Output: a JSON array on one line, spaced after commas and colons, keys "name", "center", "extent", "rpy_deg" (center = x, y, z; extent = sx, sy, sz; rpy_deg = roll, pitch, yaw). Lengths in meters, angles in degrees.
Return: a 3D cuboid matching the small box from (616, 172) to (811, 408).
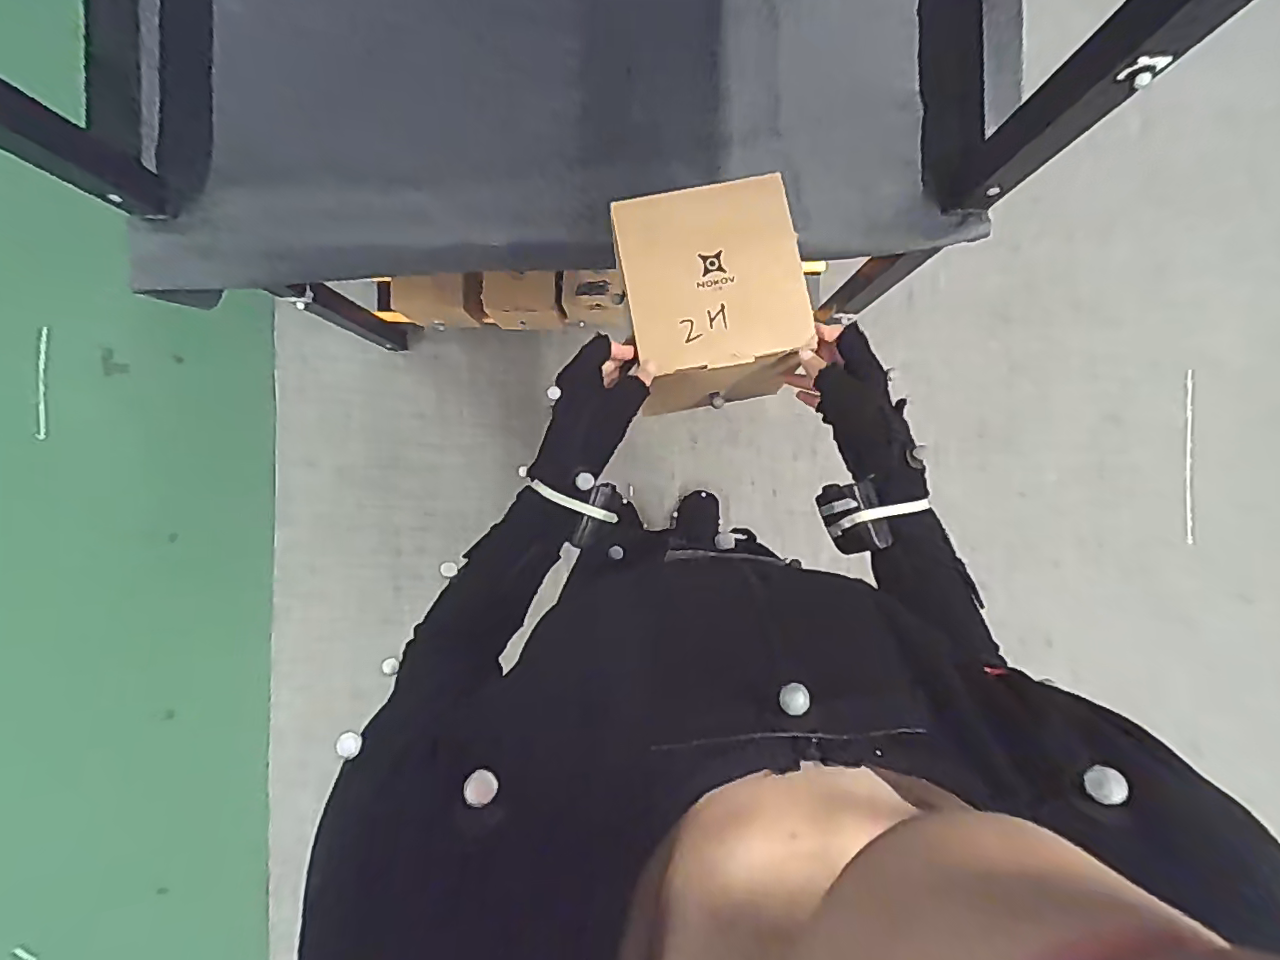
[{"name": "small box", "center": [0.068, -0.193, 0.591], "extent": [0.168, 0.176, 0.179], "rpy_deg": [-9, 84, 0]}]
